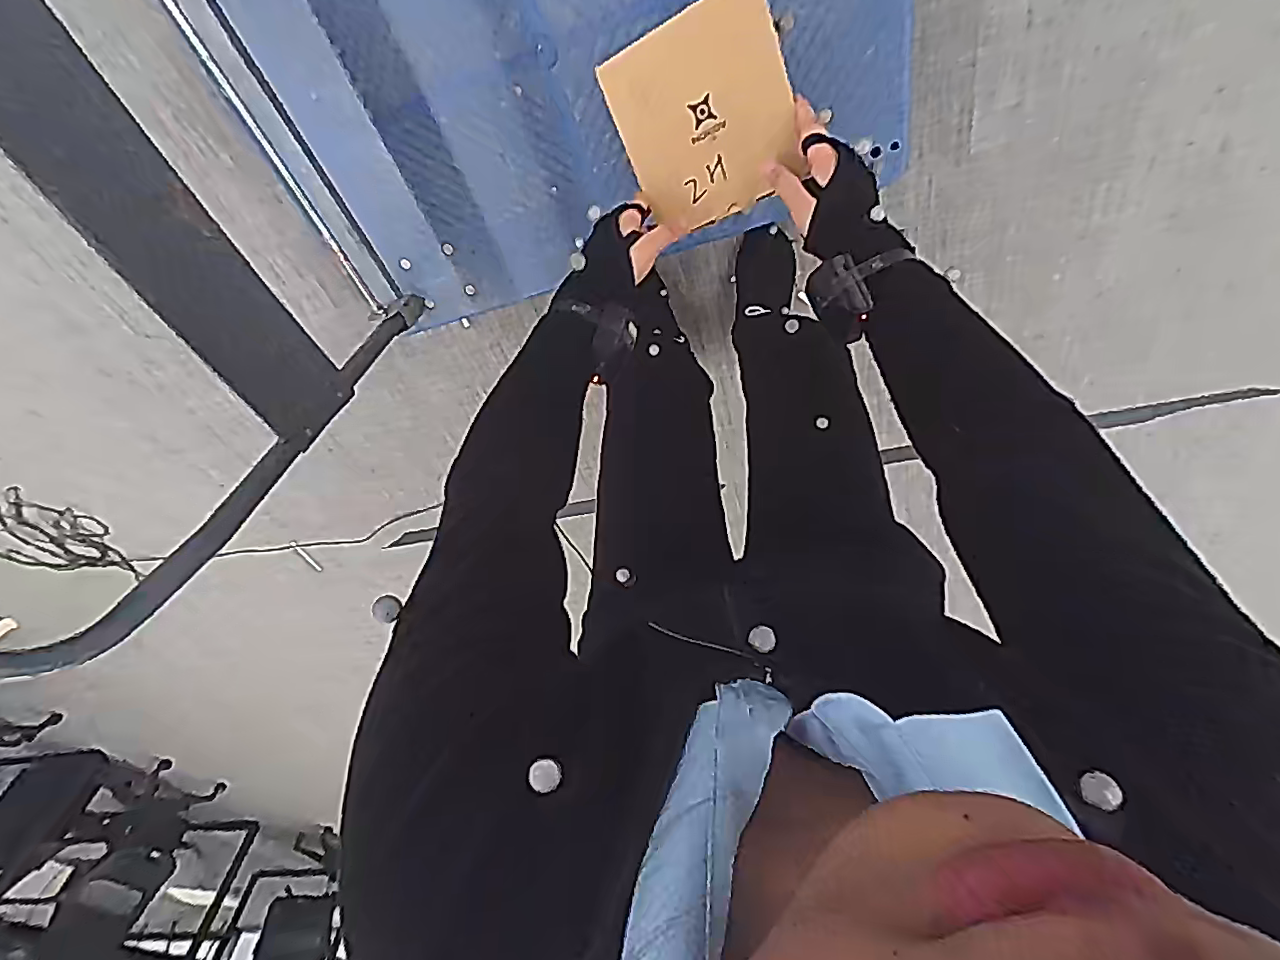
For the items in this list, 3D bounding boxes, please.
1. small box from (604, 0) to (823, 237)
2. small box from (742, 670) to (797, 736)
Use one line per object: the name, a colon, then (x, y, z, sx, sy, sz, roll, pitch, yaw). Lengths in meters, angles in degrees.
small box: (0.087, -0.388, 0.580, 0.168, 0.176, 0.179, -16, 115, 24)
small box: (0.481, 0.832, 2.018, 0.168, 0.176, 0.179, -12, 129, 14)
